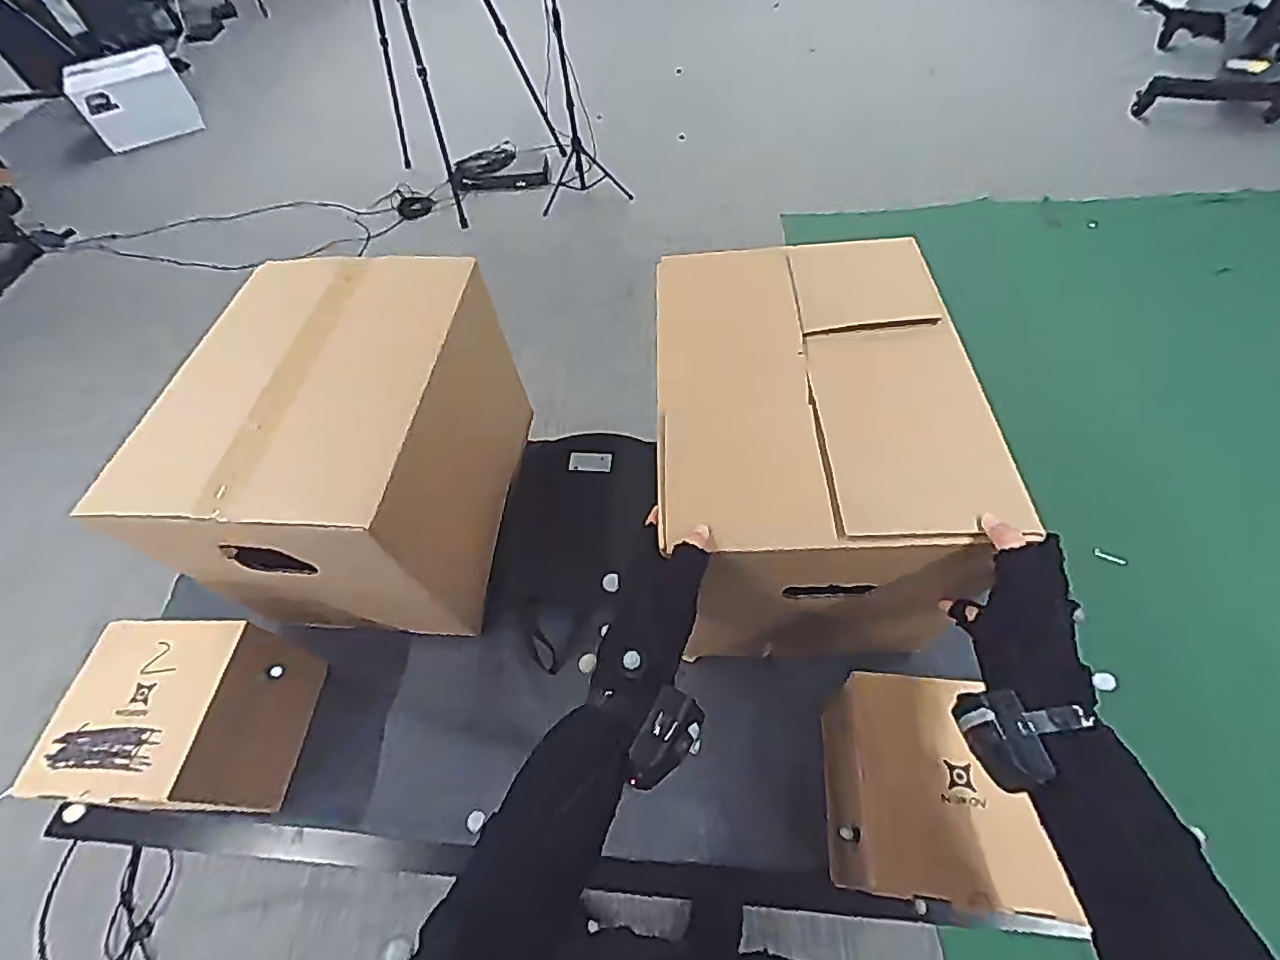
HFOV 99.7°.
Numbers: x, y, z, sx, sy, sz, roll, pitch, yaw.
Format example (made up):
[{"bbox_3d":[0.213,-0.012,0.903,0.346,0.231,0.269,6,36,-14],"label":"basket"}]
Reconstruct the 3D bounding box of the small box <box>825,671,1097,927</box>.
[{"bbox_3d":[0.284,0.305,0.532,0.168,0.176,0.179,3,57,8],"label":"small box"}]
